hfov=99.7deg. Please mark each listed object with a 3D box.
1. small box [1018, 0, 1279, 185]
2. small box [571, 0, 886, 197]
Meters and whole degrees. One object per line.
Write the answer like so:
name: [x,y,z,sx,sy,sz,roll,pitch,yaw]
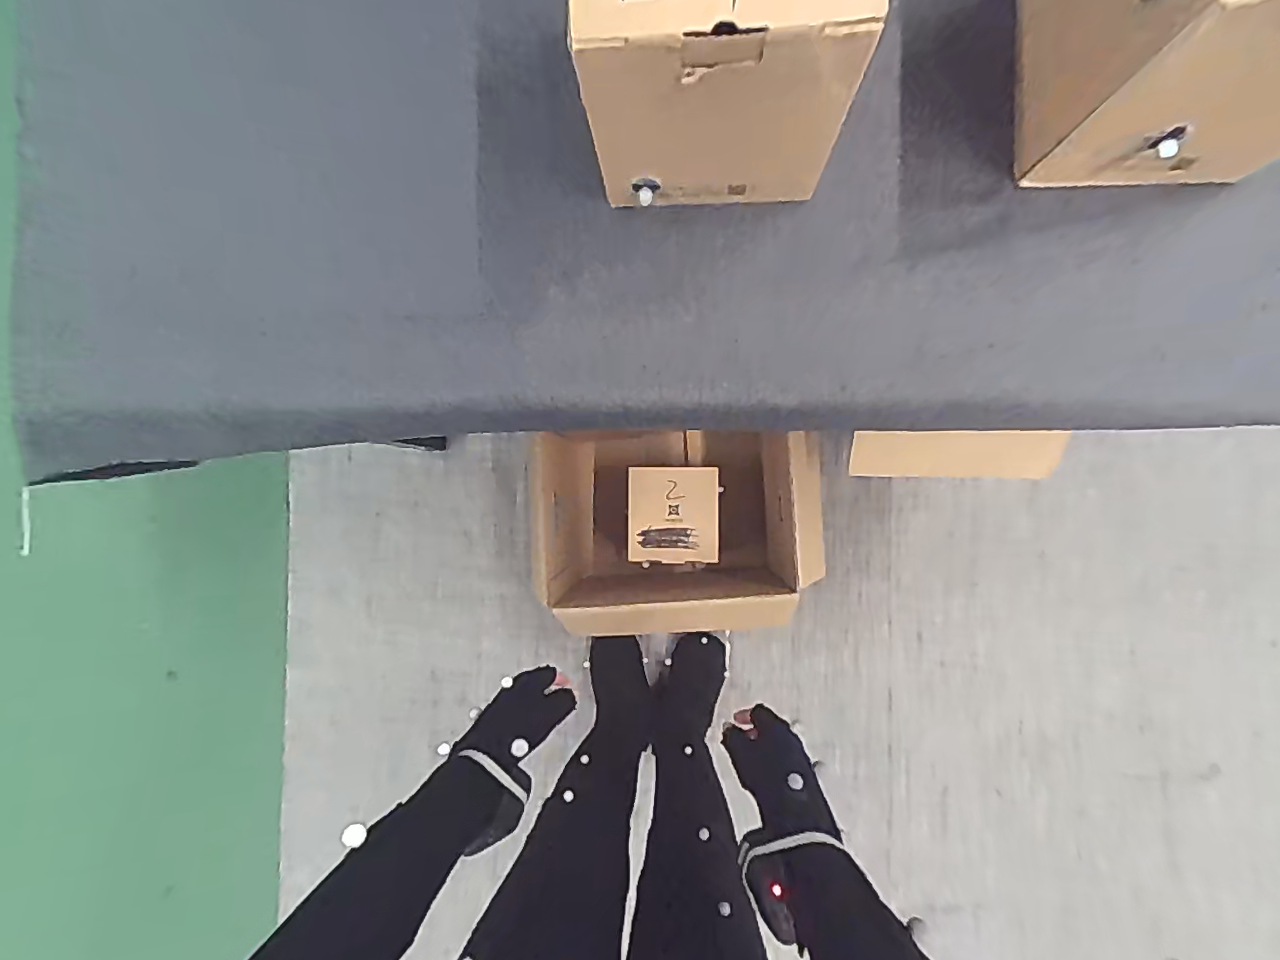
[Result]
small box: [0.372,-0.317,0.338,0.168,0.176,0.179,1,90,5]
small box: [0.052,-0.312,0.361,0.168,0.176,0.179,0,88,4]
